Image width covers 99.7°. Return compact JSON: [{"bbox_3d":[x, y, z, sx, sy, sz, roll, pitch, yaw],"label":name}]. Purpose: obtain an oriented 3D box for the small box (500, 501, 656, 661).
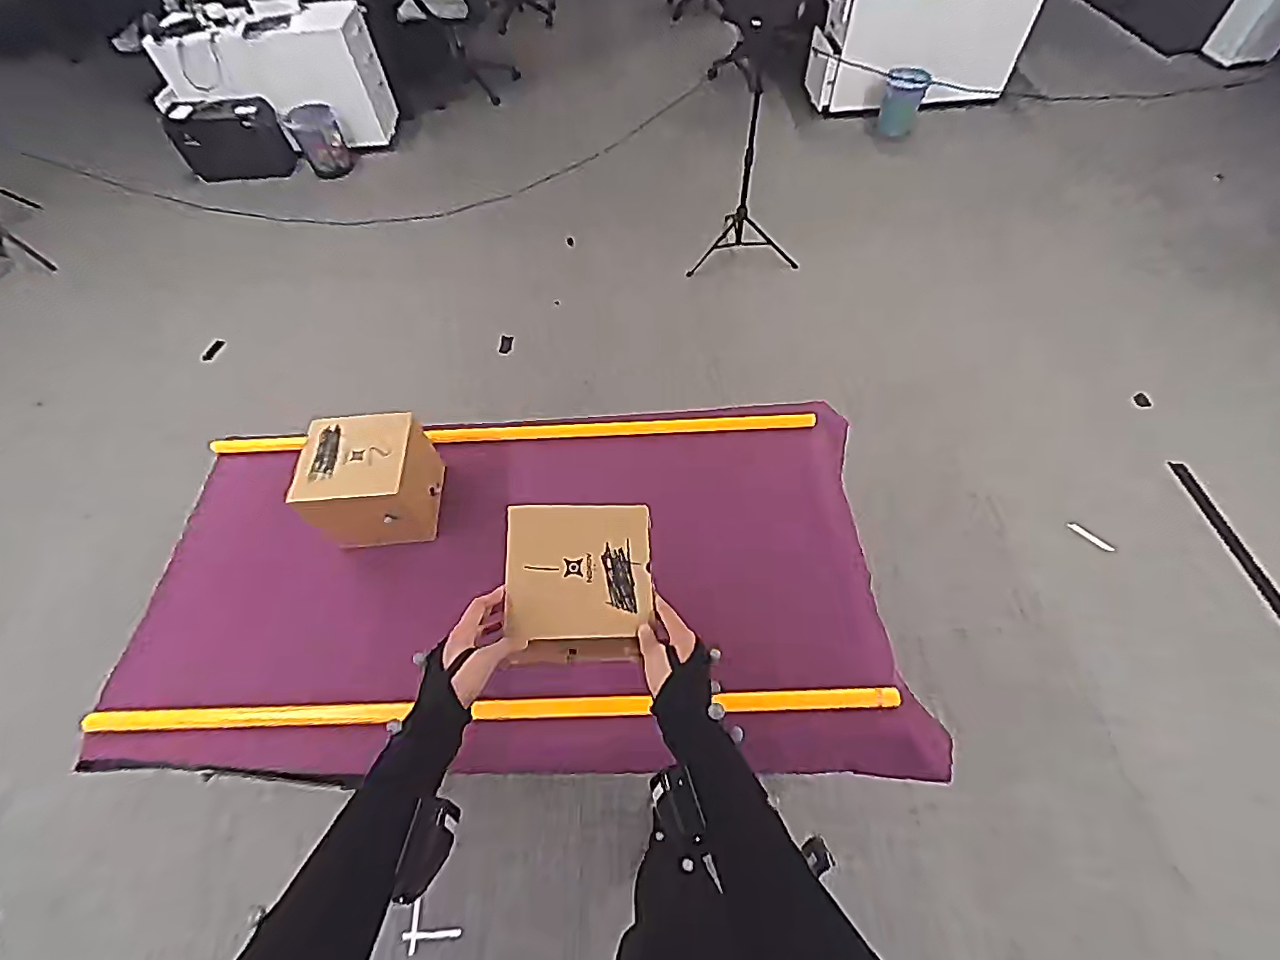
[{"bbox_3d":[-0.082,0.137,0.707,0.179,0.176,0.168,1,62,-7],"label":"small box"}]
